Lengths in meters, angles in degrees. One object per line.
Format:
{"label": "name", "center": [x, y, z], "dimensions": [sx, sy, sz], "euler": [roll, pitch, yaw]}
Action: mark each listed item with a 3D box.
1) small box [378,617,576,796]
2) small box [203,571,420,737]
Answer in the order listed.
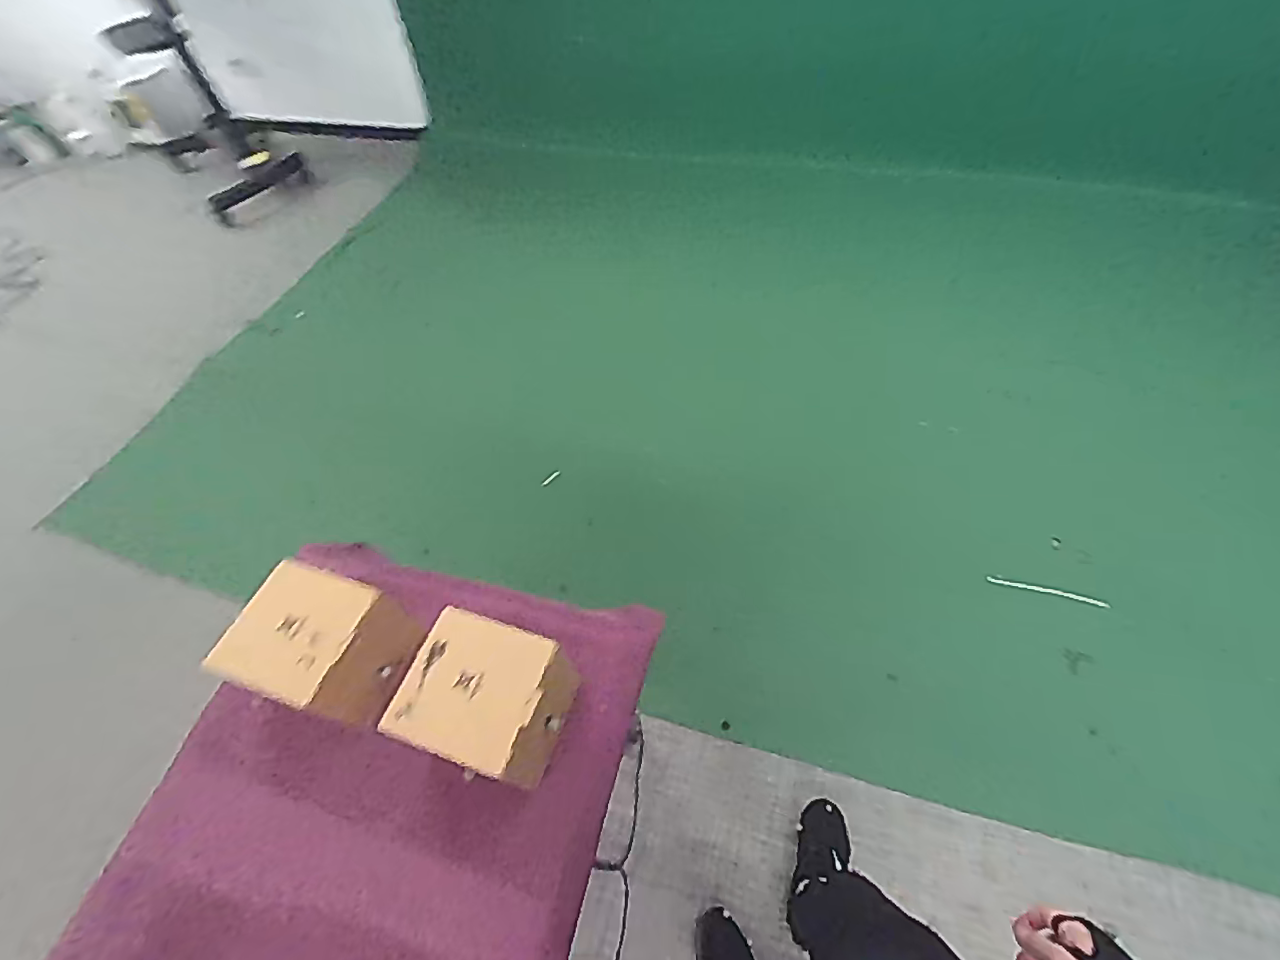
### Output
{"label": "small box", "center": [-0.205, 0.314, 0.741], "dimensions": [0.179, 0.176, 0.168], "euler": [13, 58, 15]}
{"label": "small box", "center": [-0.469, 0.262, 0.803], "dimensions": [0.179, 0.176, 0.168], "euler": [14, 58, 14]}
